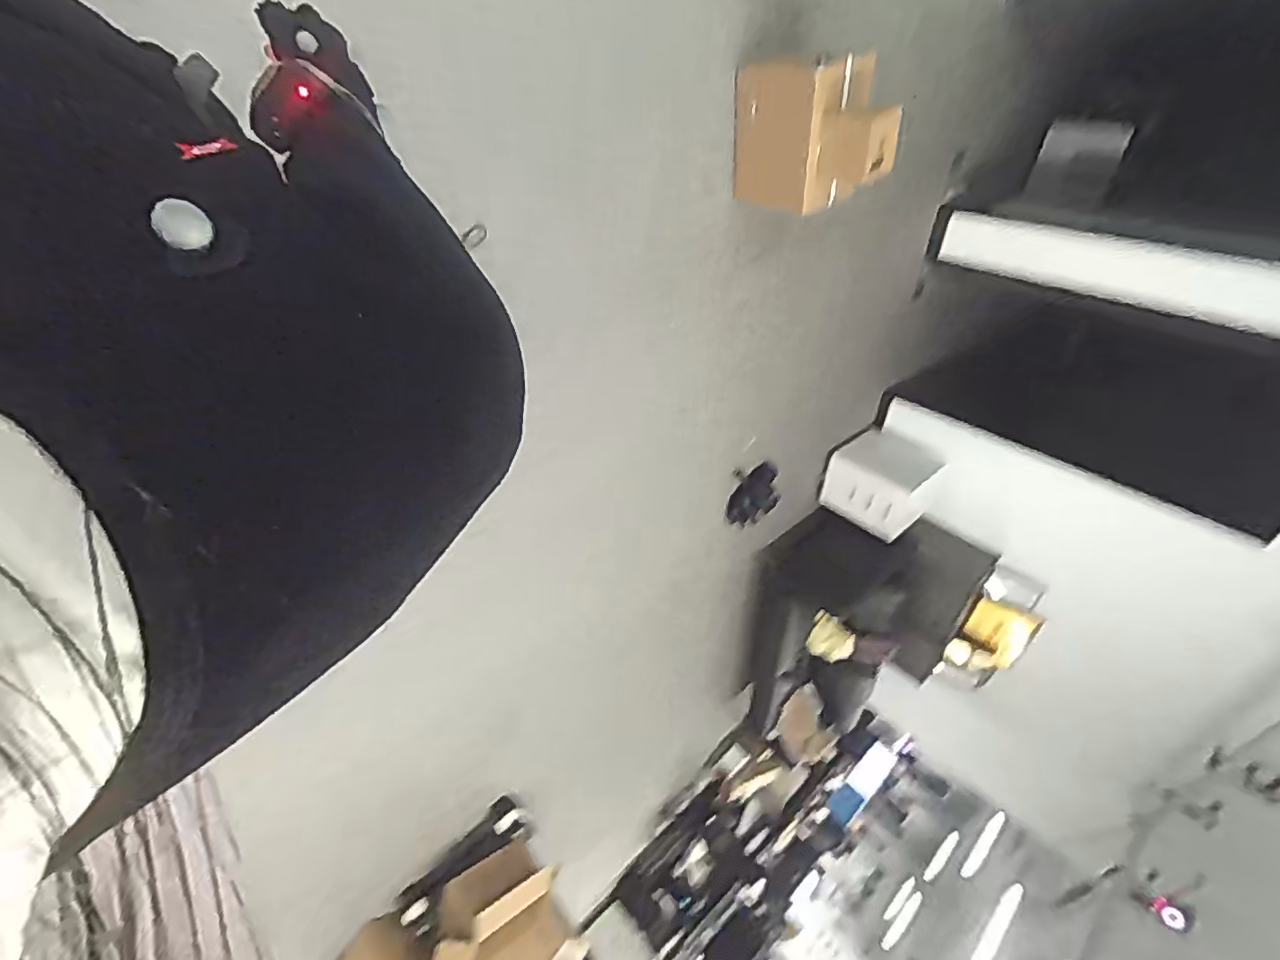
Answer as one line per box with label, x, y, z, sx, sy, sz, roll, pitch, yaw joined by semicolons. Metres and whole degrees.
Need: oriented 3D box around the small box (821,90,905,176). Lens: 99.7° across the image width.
small box;0.676;-1.068;1.659;0.168;0.176;0.179;-38;142;-20
